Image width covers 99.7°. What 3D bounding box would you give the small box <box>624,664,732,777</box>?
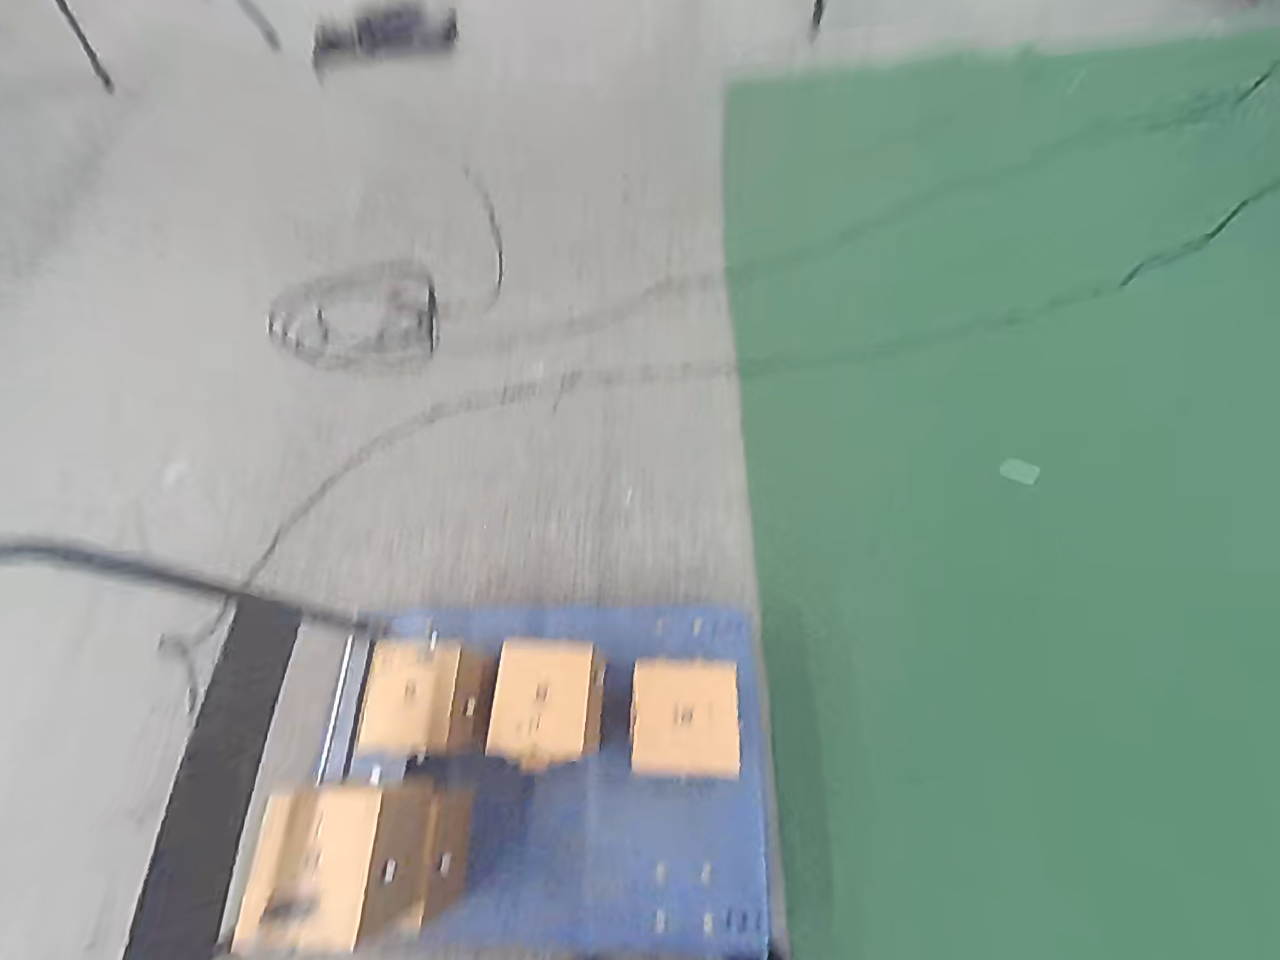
[{"bbox_3d":[0.072,0.430,0.969,0.179,0.176,0.168,0,66,6],"label":"small box"}]

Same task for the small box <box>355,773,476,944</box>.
[{"bbox_3d":[-0.421,0.629,0.929,0.179,0.176,0.168,27,72,17],"label":"small box"}]

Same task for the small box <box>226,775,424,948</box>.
[{"bbox_3d":[-0.436,0.536,0.784,0.168,0.176,0.179,-1,64,4],"label":"small box"}]
